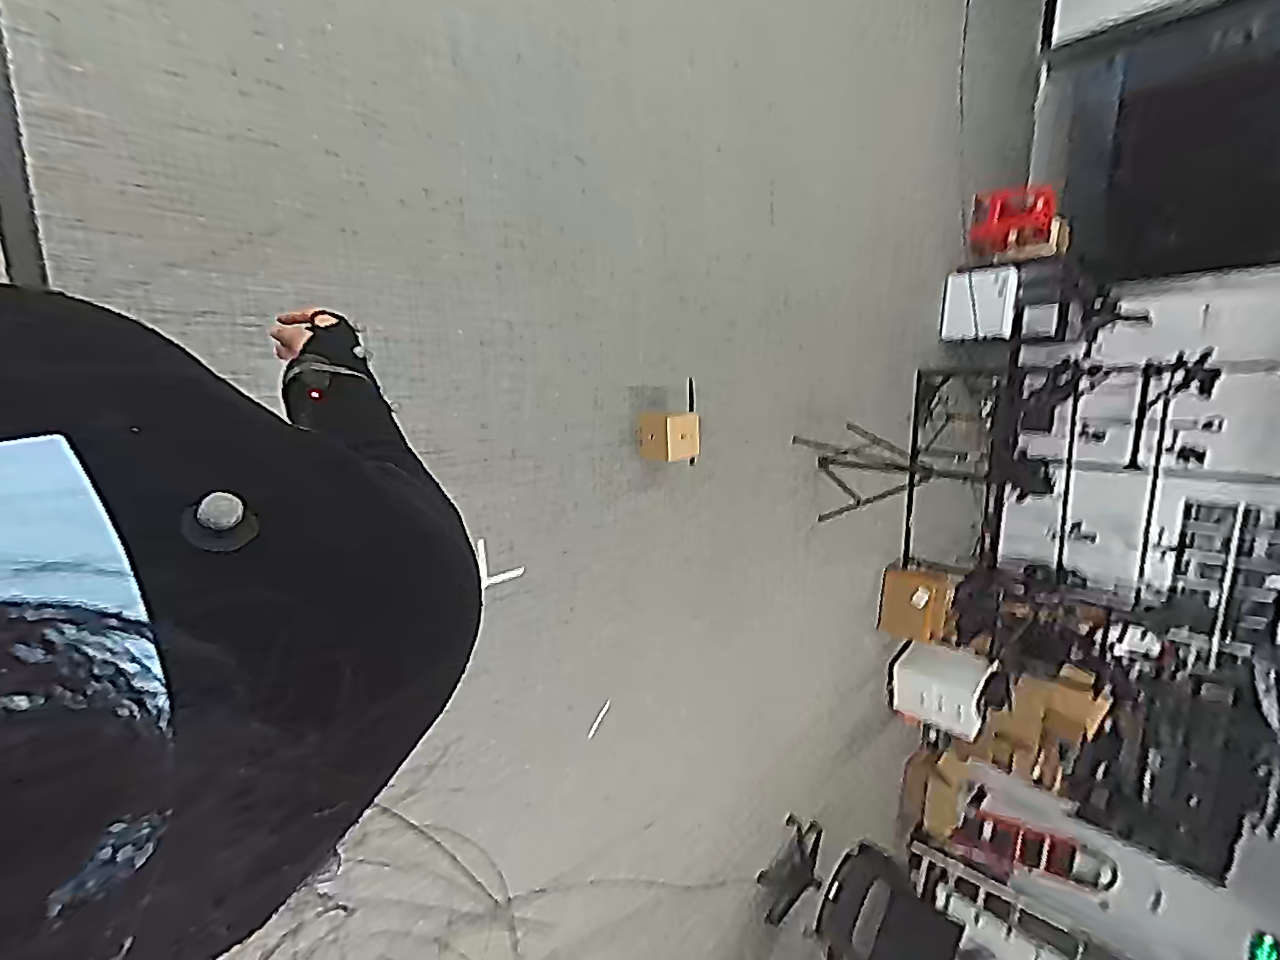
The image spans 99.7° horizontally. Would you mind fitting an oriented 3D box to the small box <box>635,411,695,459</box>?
[{"bbox_3d":[0.092,-0.175,2.072,0.179,0.176,0.168,-14,106,-43],"label":"small box"}]
